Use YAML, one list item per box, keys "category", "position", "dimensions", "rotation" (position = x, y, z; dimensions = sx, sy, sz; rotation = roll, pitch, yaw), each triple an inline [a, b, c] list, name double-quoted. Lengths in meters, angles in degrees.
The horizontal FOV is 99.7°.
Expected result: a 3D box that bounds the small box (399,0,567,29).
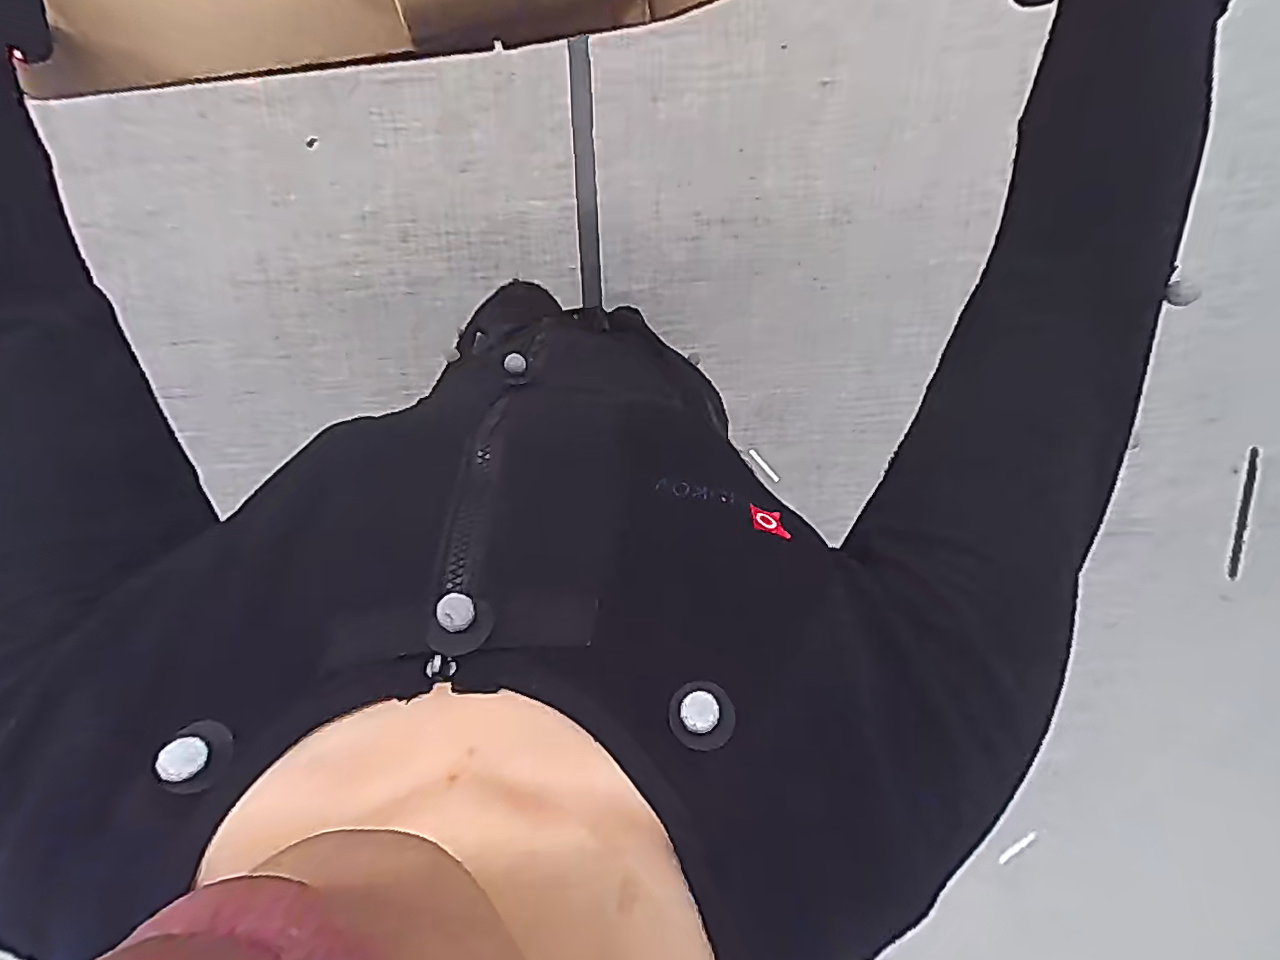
- category: "small box"
  position: [-0.071, -0.366, 0.267]
  dimensions: [0.179, 0.176, 0.168]
  rotation: [-20, 116, -7]
